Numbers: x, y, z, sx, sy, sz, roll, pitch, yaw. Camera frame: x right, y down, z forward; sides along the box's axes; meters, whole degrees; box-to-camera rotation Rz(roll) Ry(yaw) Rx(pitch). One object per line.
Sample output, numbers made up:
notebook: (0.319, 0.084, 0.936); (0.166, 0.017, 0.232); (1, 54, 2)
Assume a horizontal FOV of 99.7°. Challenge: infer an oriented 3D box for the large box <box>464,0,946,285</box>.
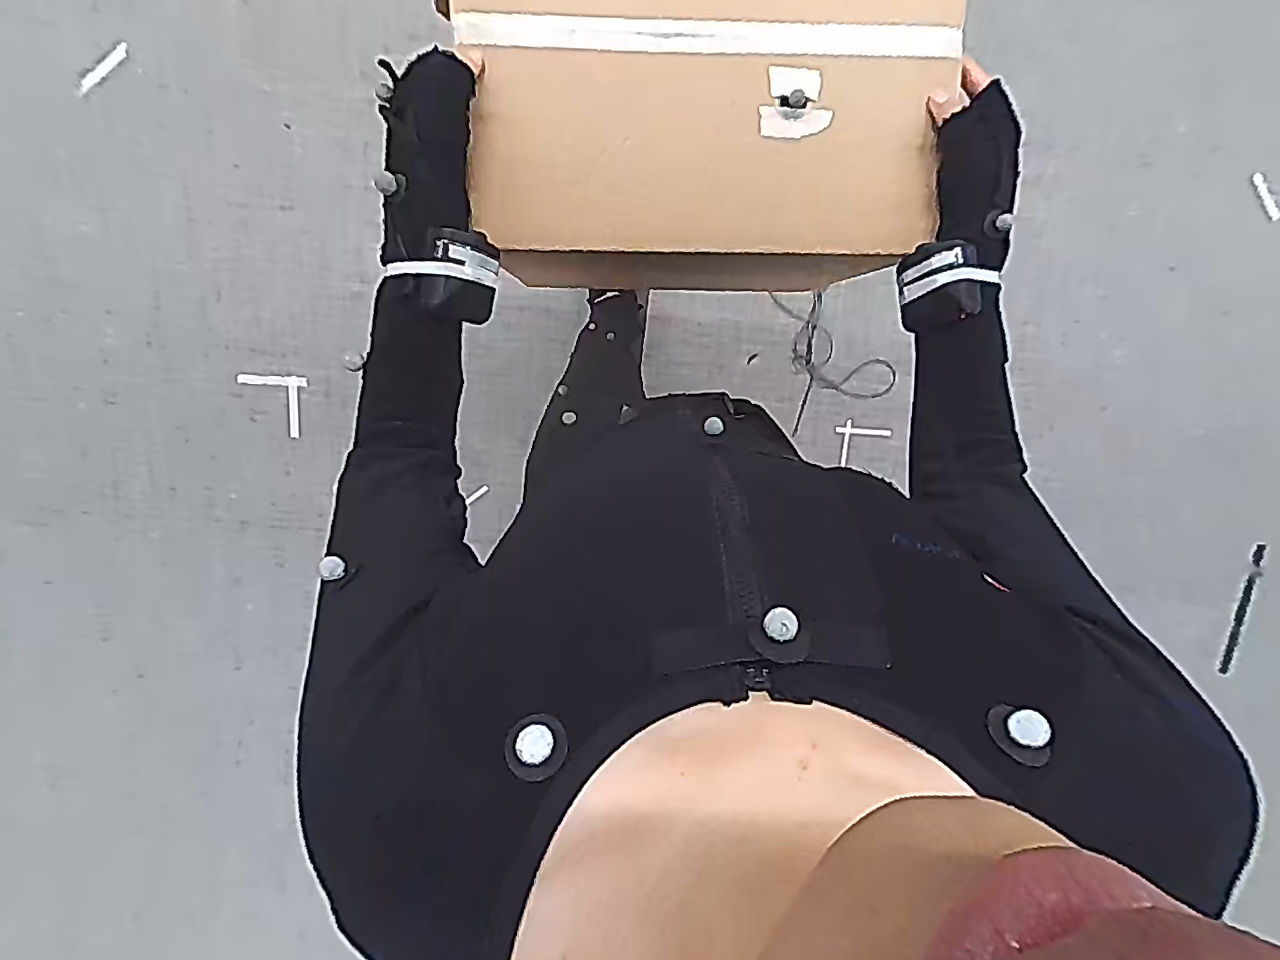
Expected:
large box: (0.046, -0.397, 0.593); (0.408, 0.320, 0.320); (-1, 104, -4)
